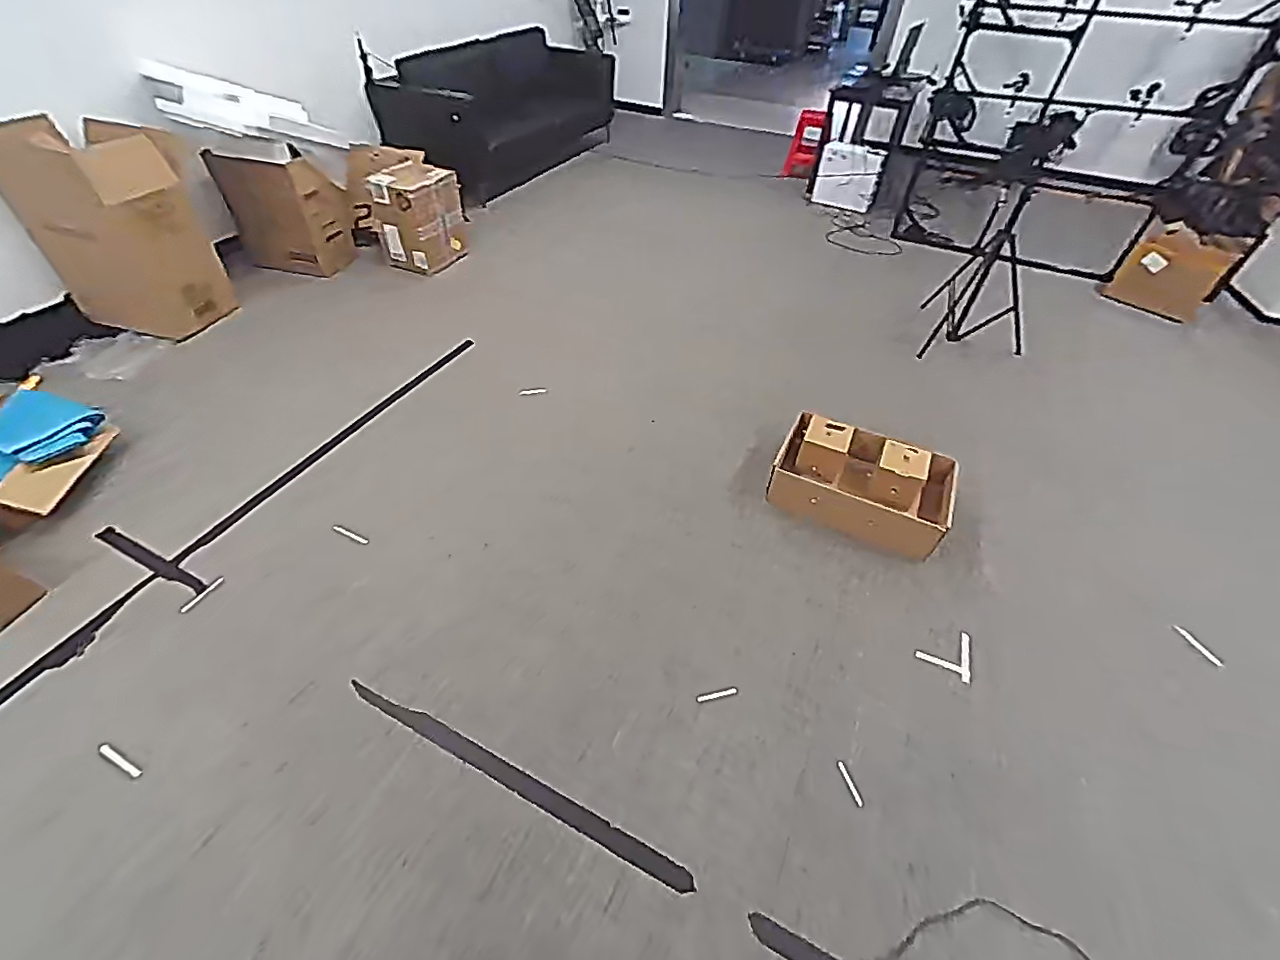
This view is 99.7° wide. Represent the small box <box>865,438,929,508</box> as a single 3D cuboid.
[{"bbox_3d":[0.971,-0.024,2.050,0.168,0.176,0.179,20,49,20],"label":"small box"}]
